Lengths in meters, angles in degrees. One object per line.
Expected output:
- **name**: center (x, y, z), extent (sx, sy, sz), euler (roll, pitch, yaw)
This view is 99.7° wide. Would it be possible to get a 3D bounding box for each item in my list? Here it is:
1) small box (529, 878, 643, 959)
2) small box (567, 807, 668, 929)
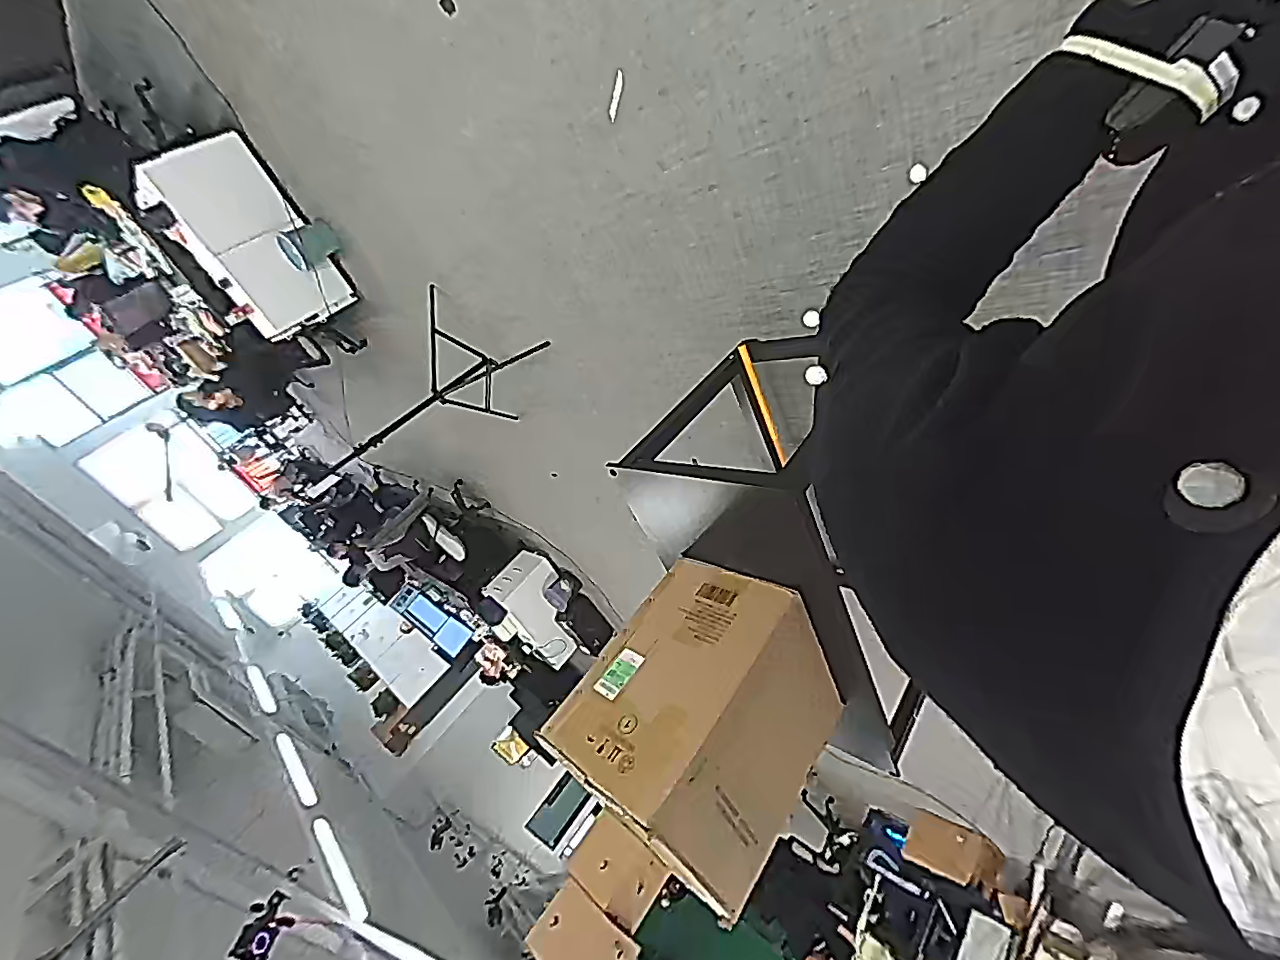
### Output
- **small box**: center (-0.127, 1.109, 1.305), extent (0.179, 0.176, 0.168), euler (7, 136, 49)
- **small box**: center (-0.050, 0.998, 1.404), extent (0.179, 0.176, 0.168), euler (10, 136, 47)
